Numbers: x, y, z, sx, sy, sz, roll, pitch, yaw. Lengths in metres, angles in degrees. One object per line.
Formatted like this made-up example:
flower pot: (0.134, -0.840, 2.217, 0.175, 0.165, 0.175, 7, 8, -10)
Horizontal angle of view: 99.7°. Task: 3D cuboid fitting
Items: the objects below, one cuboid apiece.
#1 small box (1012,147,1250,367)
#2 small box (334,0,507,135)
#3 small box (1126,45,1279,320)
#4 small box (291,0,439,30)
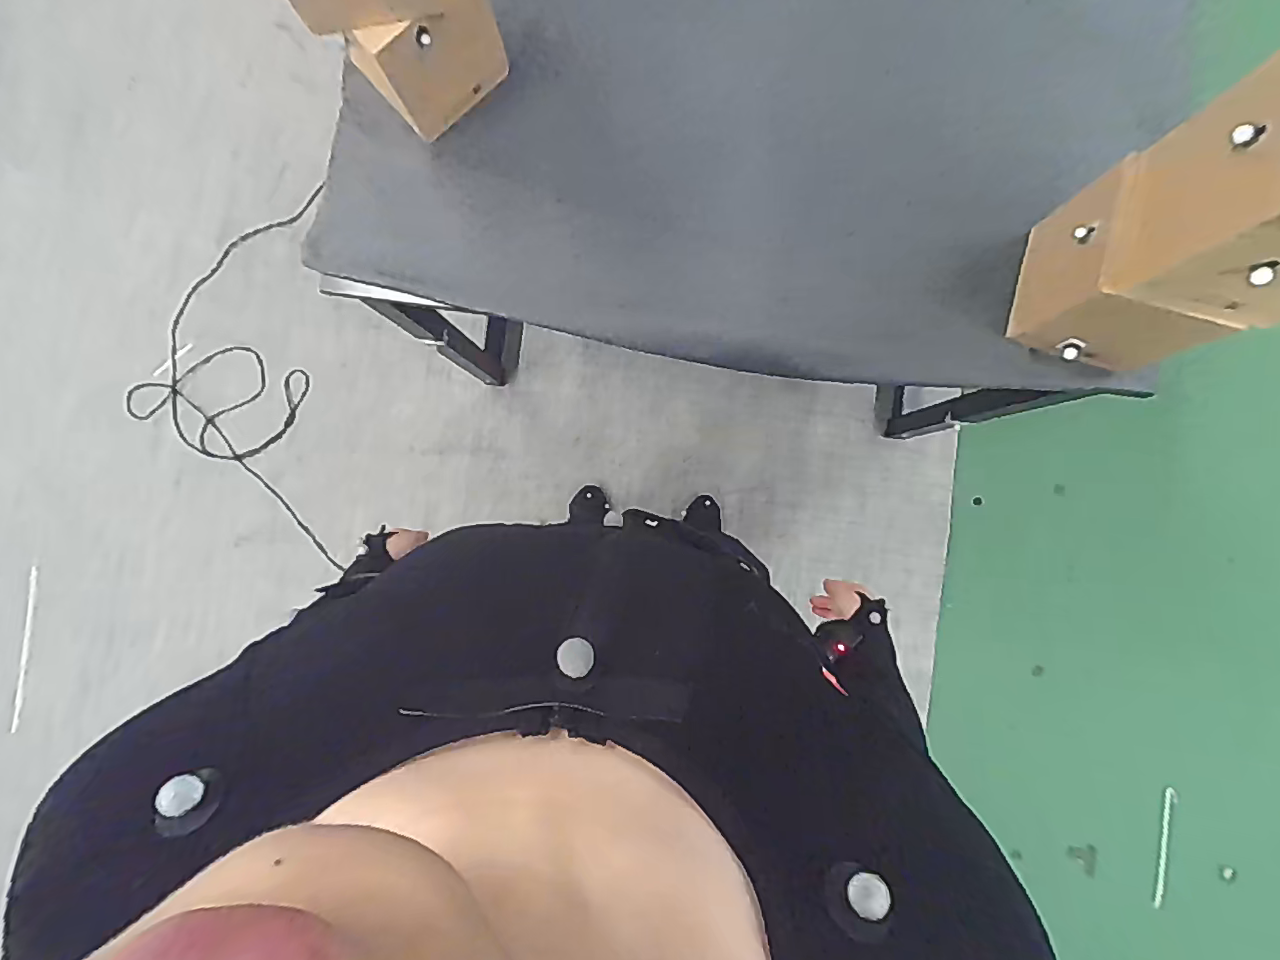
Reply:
small box: (0.611, -0.265, 0.678, 0.168, 0.176, 0.179, 16, 86, 3)
small box: (-0.306, -0.612, 0.711, 0.168, 0.176, 0.179, -42, 89, 0)
small box: (0.622, -0.276, 0.516, 0.168, 0.176, 0.179, 14, 85, 3)
small box: (-0.310, -0.611, 0.546, 0.179, 0.176, 0.168, -11, 89, 1)
